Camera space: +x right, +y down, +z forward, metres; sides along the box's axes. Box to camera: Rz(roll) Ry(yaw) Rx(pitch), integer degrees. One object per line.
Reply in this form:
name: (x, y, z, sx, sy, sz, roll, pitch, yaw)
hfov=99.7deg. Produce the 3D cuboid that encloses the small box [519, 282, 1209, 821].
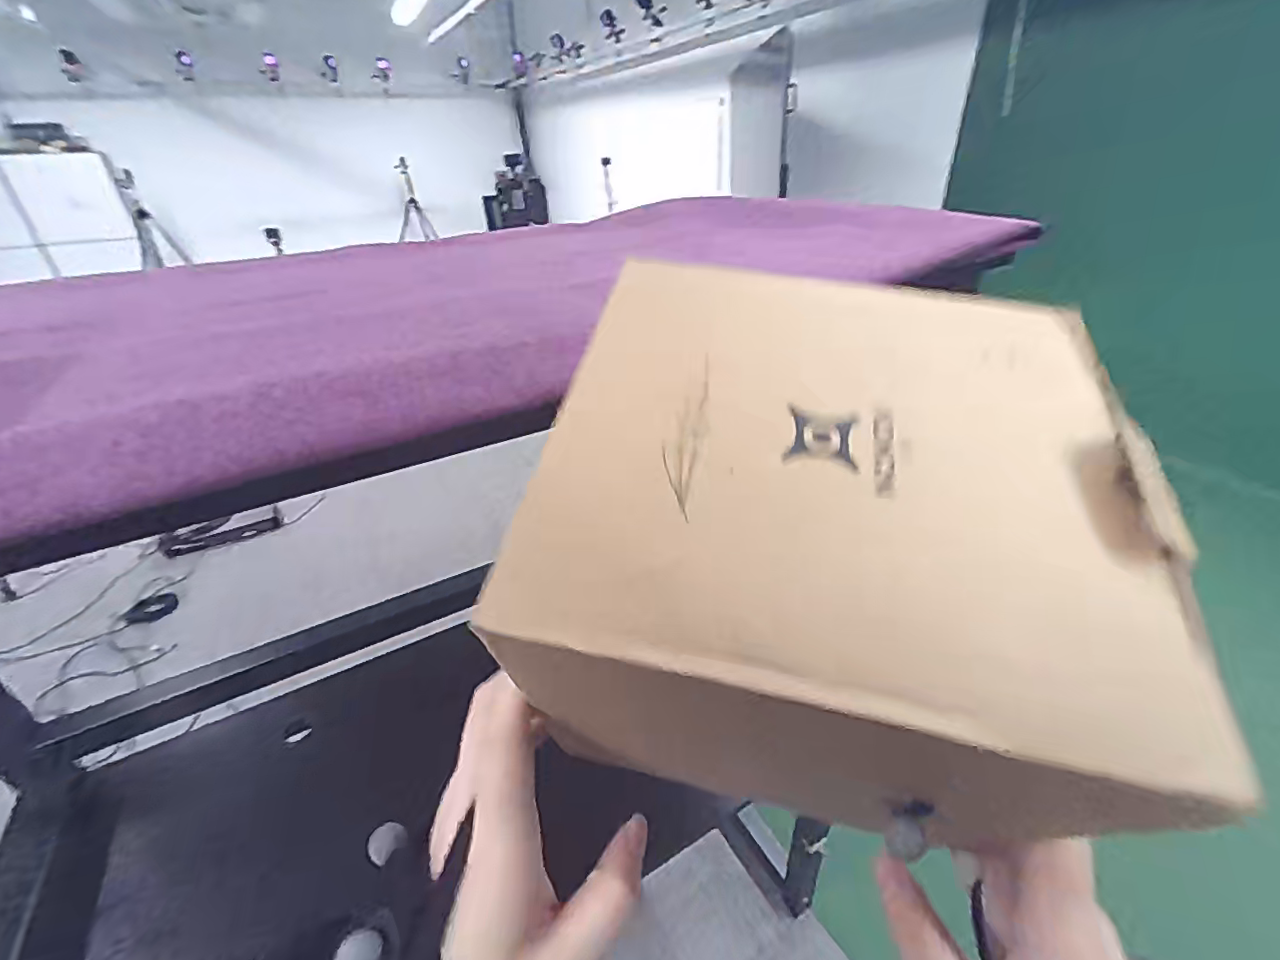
small box: (0.070, 0.039, 0.248, 0.179, 0.176, 0.168, 10, 53, 10)
